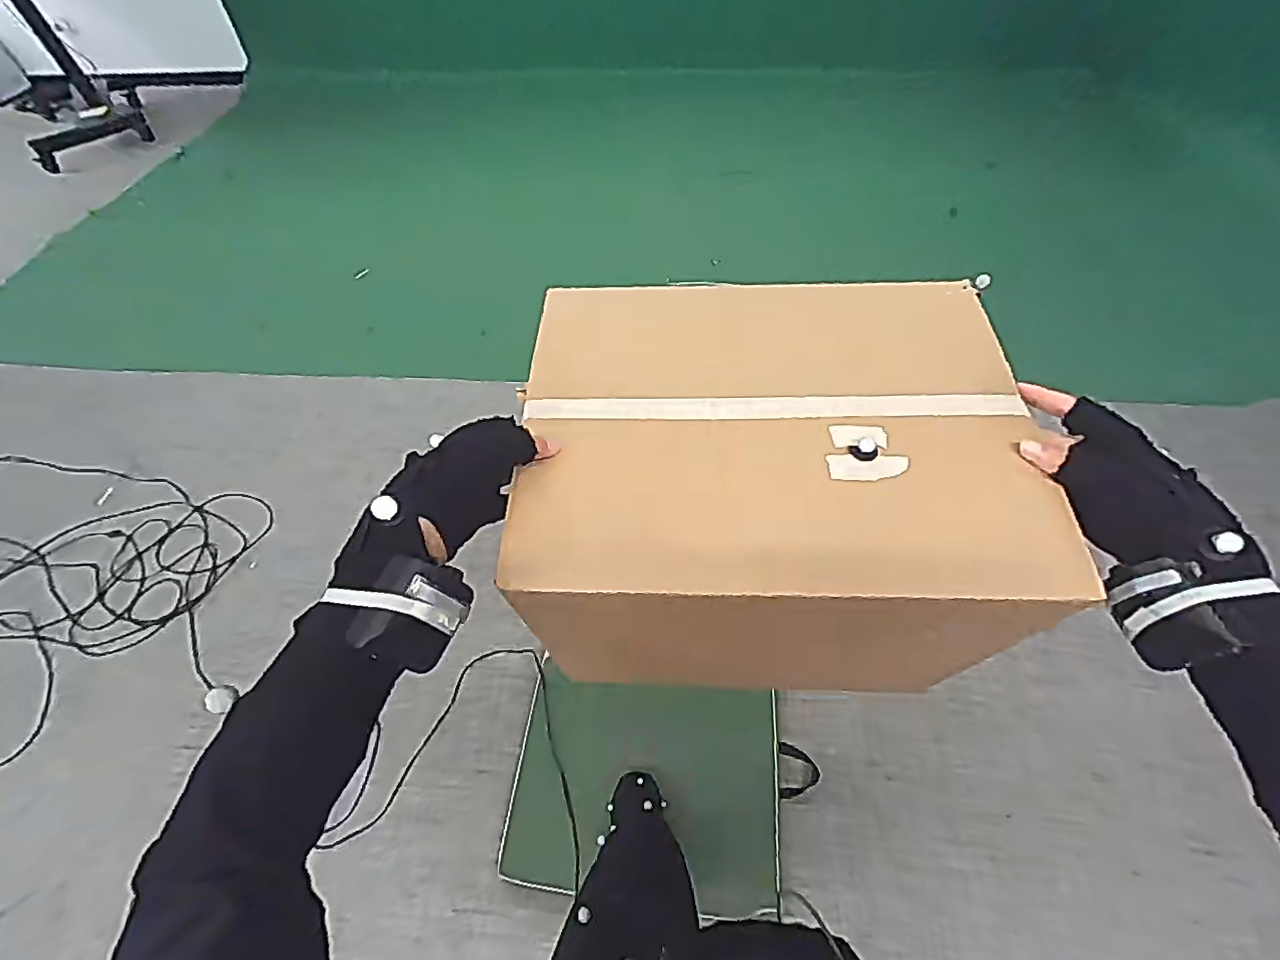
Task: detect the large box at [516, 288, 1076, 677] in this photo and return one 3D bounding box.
[{"bbox_3d":[0.113,0.021,0.584,0.408,0.320,0.320,0,59,3],"label":"large box"}]
